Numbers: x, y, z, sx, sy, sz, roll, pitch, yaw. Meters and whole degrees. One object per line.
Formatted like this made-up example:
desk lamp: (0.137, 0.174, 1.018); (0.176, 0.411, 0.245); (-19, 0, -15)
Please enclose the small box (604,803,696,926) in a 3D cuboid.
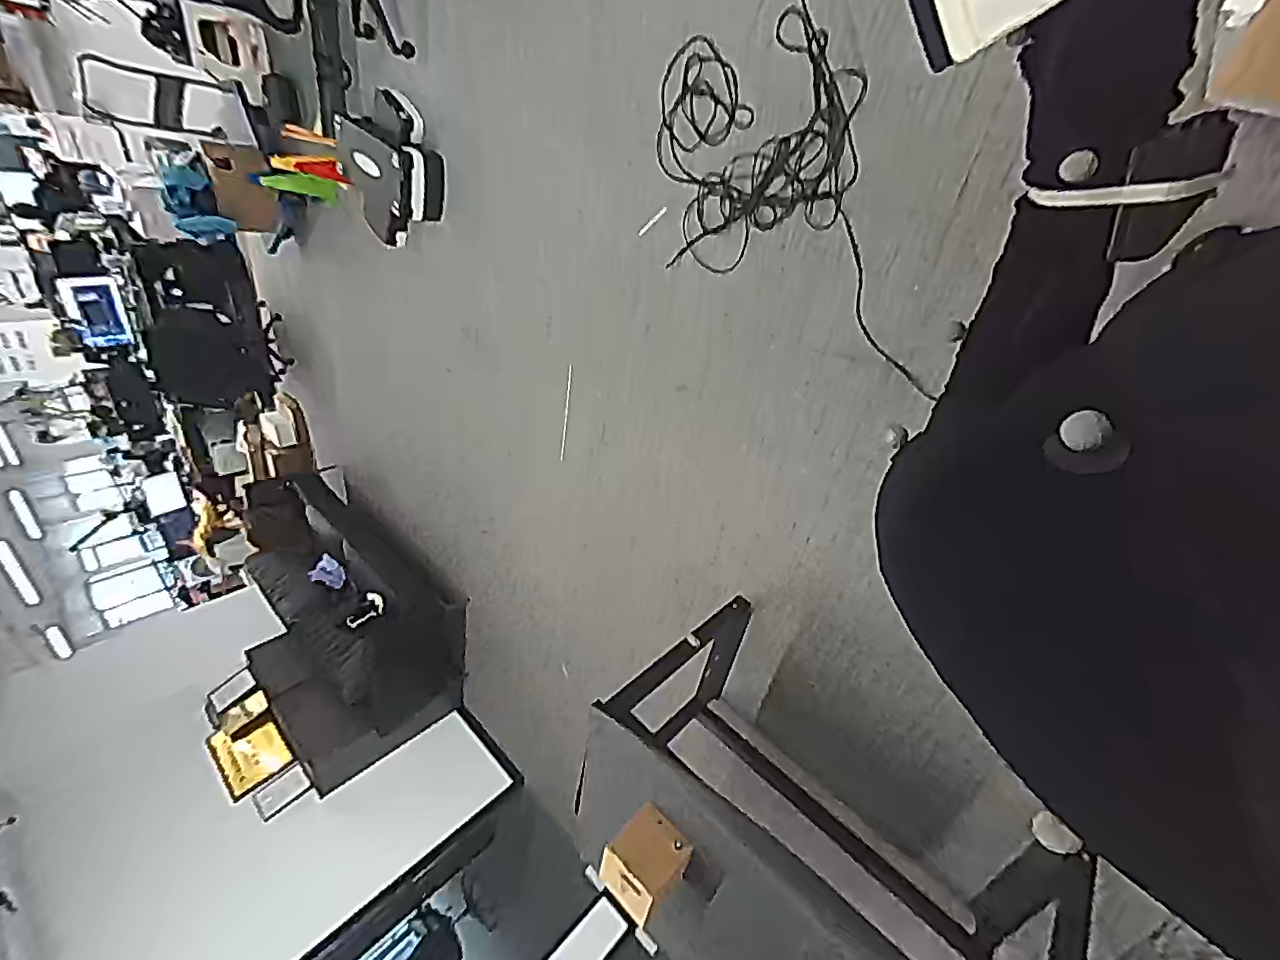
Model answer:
small box: (0.028, 1.006, 1.428); (0.168, 0.176, 0.179); (32, 128, 31)
